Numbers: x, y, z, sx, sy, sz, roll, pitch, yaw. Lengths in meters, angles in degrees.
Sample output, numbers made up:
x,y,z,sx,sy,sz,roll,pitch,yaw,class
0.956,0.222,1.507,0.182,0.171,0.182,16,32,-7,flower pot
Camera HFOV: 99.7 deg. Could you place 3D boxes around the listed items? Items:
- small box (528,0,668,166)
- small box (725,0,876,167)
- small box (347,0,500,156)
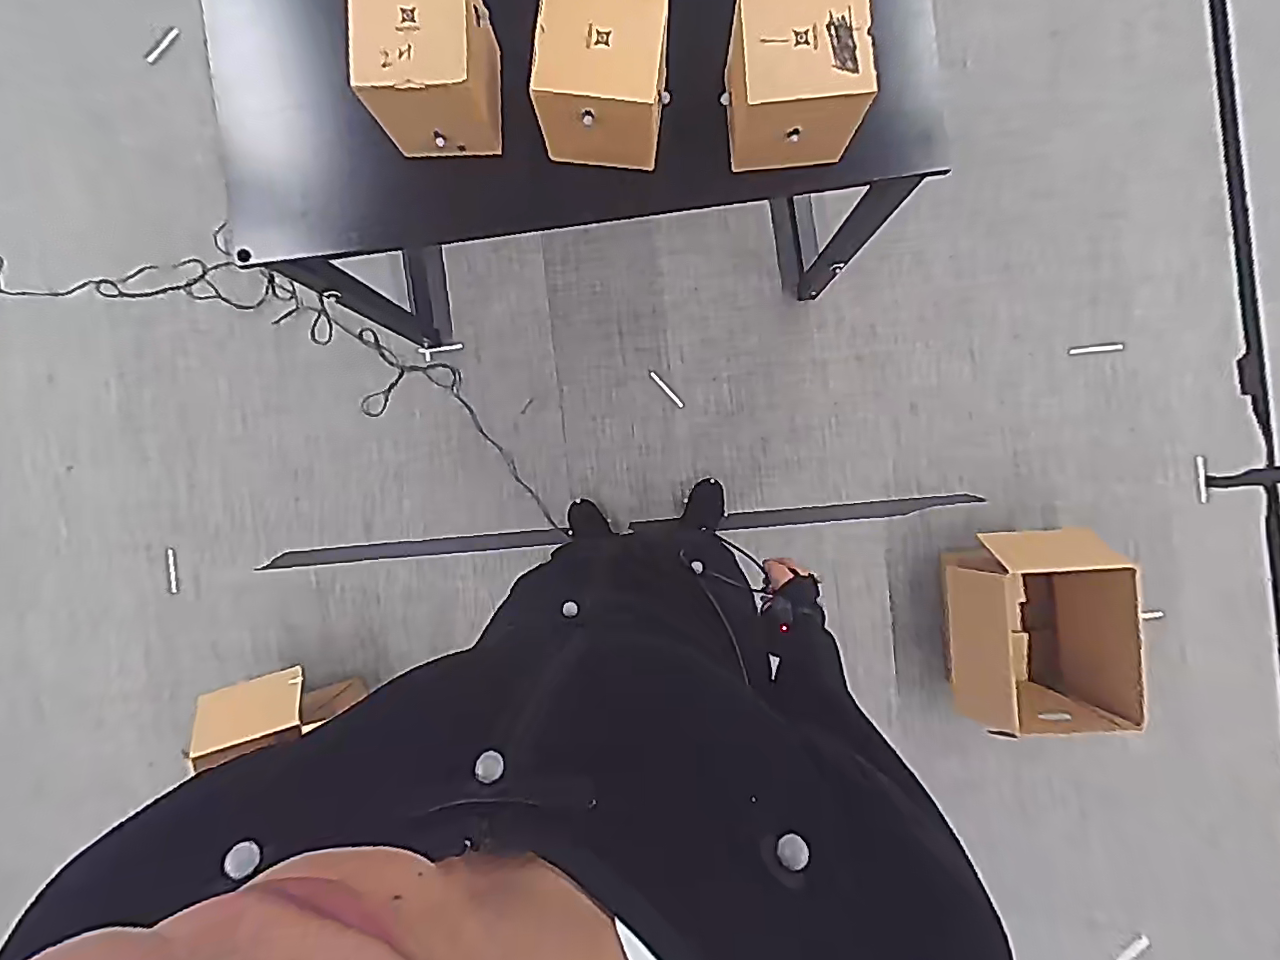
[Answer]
x,y,z,sx,sy,sz,roll,pitch,yaw,class
-0.054,-0.602,0.811,0.179,0.176,0.168,7,91,3,small box
0.226,-0.595,0.800,0.179,0.176,0.168,-5,90,3,small box
-0.316,-0.626,0.817,0.168,0.176,0.179,-1,91,2,small box
